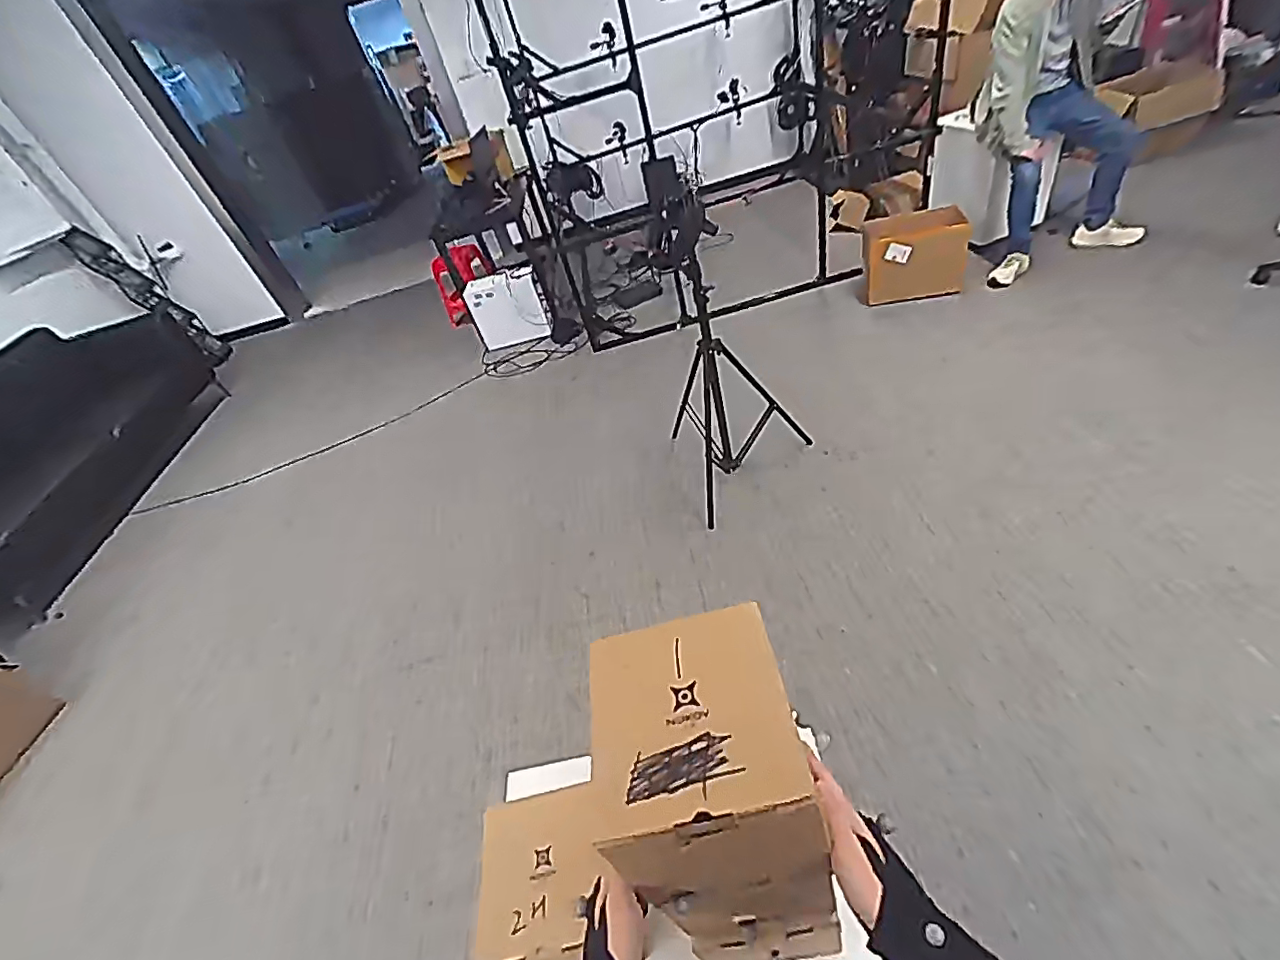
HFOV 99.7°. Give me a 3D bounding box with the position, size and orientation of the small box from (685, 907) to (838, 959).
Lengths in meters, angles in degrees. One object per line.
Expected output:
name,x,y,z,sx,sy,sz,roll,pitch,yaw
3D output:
small box,0.146,0.491,0.693,0.168,0.176,0.179,-15,41,6

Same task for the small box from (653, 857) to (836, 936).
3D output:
small box,0.105,0.365,0.596,0.168,0.176,0.179,-16,40,6

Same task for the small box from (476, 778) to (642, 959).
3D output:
small box,-0.102,0.539,0.729,0.168,0.176,0.179,-16,41,3

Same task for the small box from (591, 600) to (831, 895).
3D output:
small box,0.061,0.244,0.489,0.168,0.176,0.179,-16,36,6
